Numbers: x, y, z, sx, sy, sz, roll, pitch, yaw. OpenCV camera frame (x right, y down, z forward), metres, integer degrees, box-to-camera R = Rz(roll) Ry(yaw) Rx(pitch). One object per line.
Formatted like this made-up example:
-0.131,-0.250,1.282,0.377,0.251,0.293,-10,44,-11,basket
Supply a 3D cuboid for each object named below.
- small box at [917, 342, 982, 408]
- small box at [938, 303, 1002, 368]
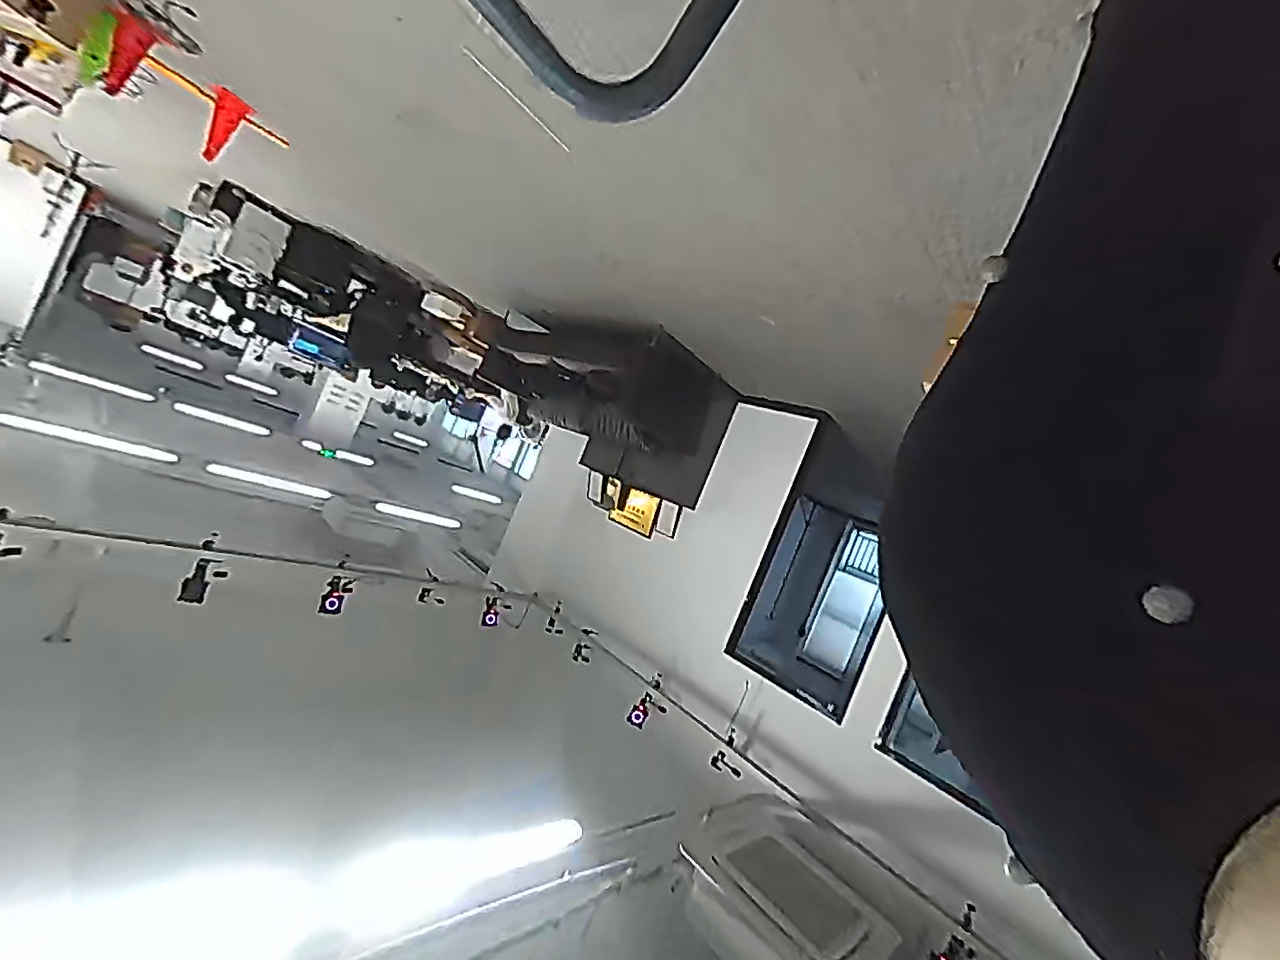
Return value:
1.177,-0.398,2.047,0.168,0.176,0.179,23,179,35,small box
1.242,-0.545,2.042,0.168,0.176,0.179,20,177,30,small box
